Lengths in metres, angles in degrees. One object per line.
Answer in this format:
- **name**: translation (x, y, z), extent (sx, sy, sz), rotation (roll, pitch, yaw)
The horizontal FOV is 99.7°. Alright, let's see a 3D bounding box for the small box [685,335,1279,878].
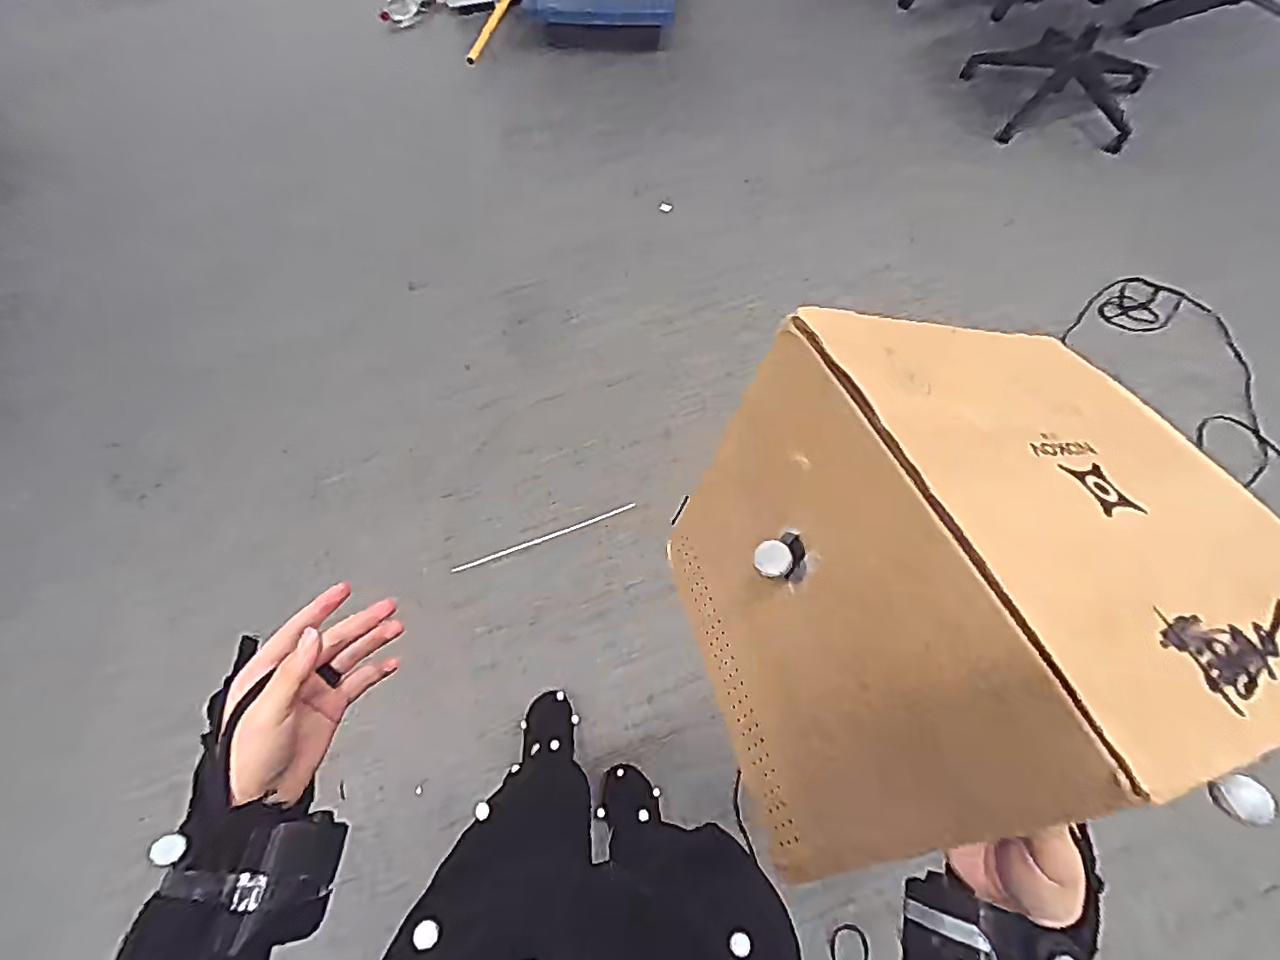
- **small box**: translation (0.140, 0.056, 0.259), extent (0.168, 0.176, 0.179), rotation (-2, 51, -22)
